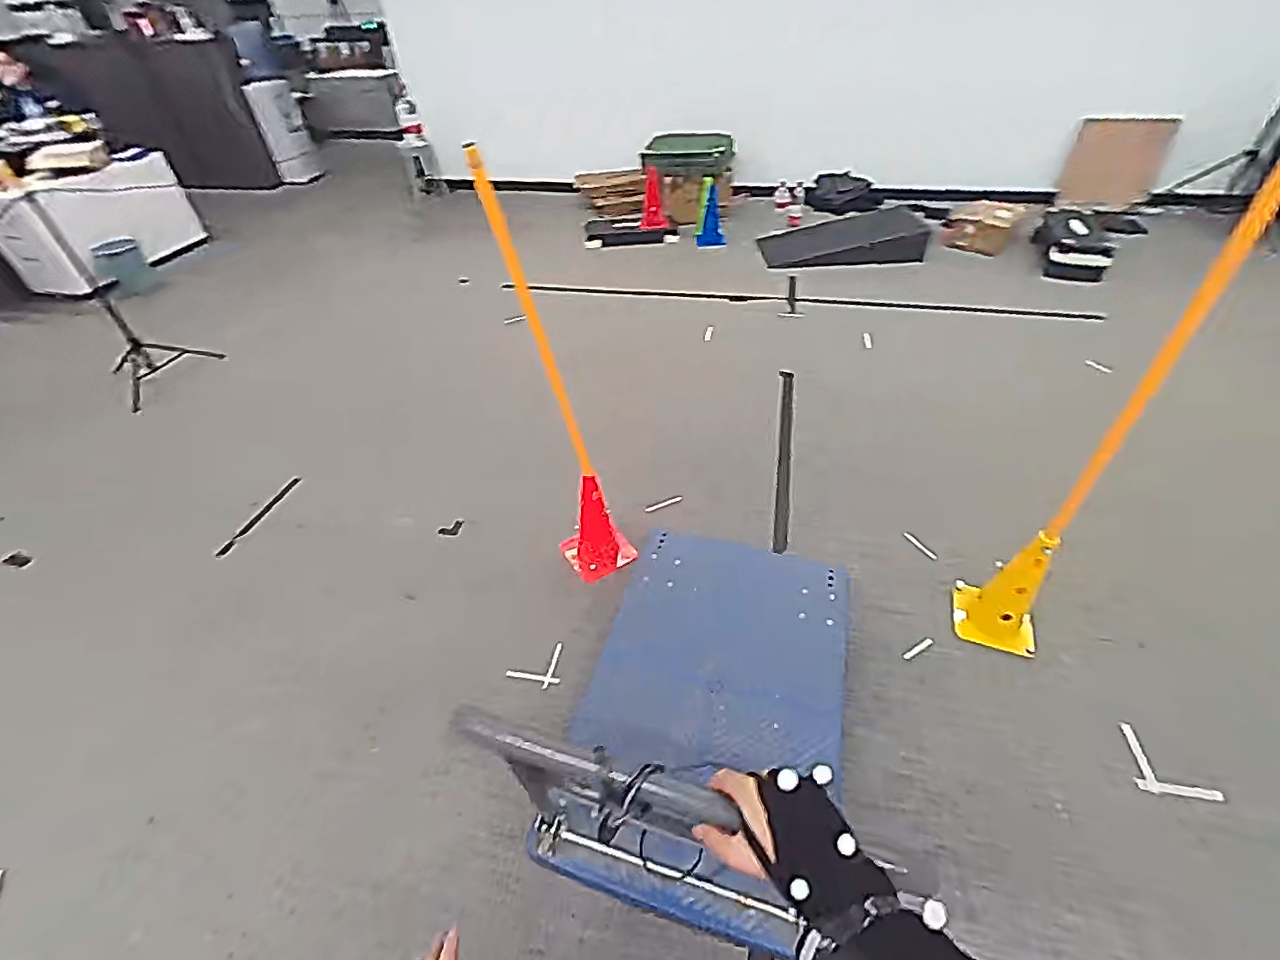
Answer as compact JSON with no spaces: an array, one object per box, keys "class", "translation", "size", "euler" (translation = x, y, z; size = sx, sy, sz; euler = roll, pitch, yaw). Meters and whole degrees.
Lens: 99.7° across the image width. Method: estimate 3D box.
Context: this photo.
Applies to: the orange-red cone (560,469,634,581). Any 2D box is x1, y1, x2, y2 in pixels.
[{"class":"orange-red cone","translation":[-0.147,0.108,1.668],"size":[0.199,0.360,0.198],"euler":[-24,48,-23]}]
